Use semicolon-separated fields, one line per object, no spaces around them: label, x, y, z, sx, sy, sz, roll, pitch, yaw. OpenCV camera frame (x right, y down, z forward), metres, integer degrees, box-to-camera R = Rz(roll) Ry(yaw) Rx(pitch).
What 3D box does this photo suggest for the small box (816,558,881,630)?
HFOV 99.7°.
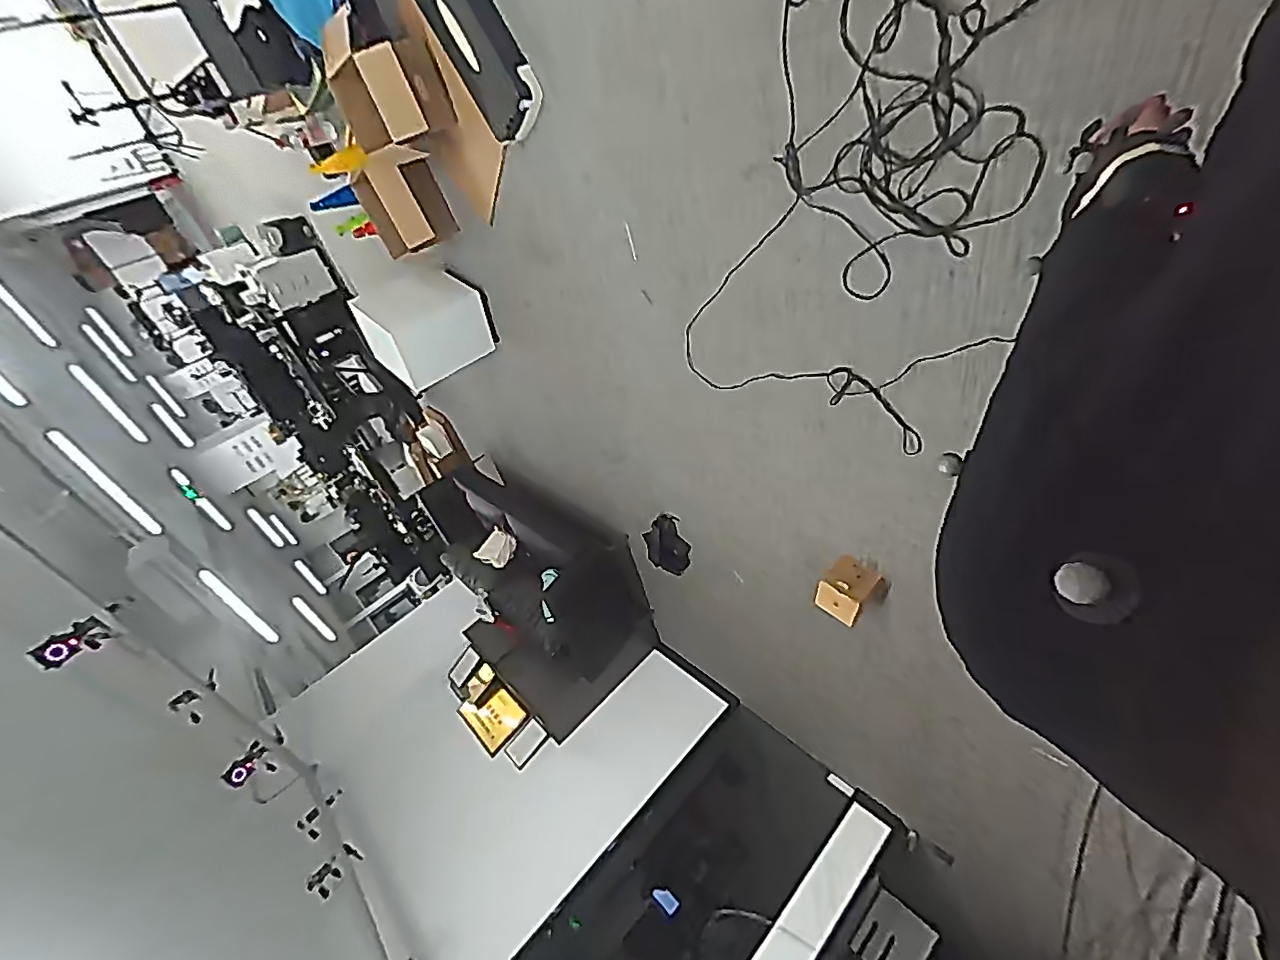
small box;0.810;0.441;2.103;0.168;0.176;0.179;34;148;34
